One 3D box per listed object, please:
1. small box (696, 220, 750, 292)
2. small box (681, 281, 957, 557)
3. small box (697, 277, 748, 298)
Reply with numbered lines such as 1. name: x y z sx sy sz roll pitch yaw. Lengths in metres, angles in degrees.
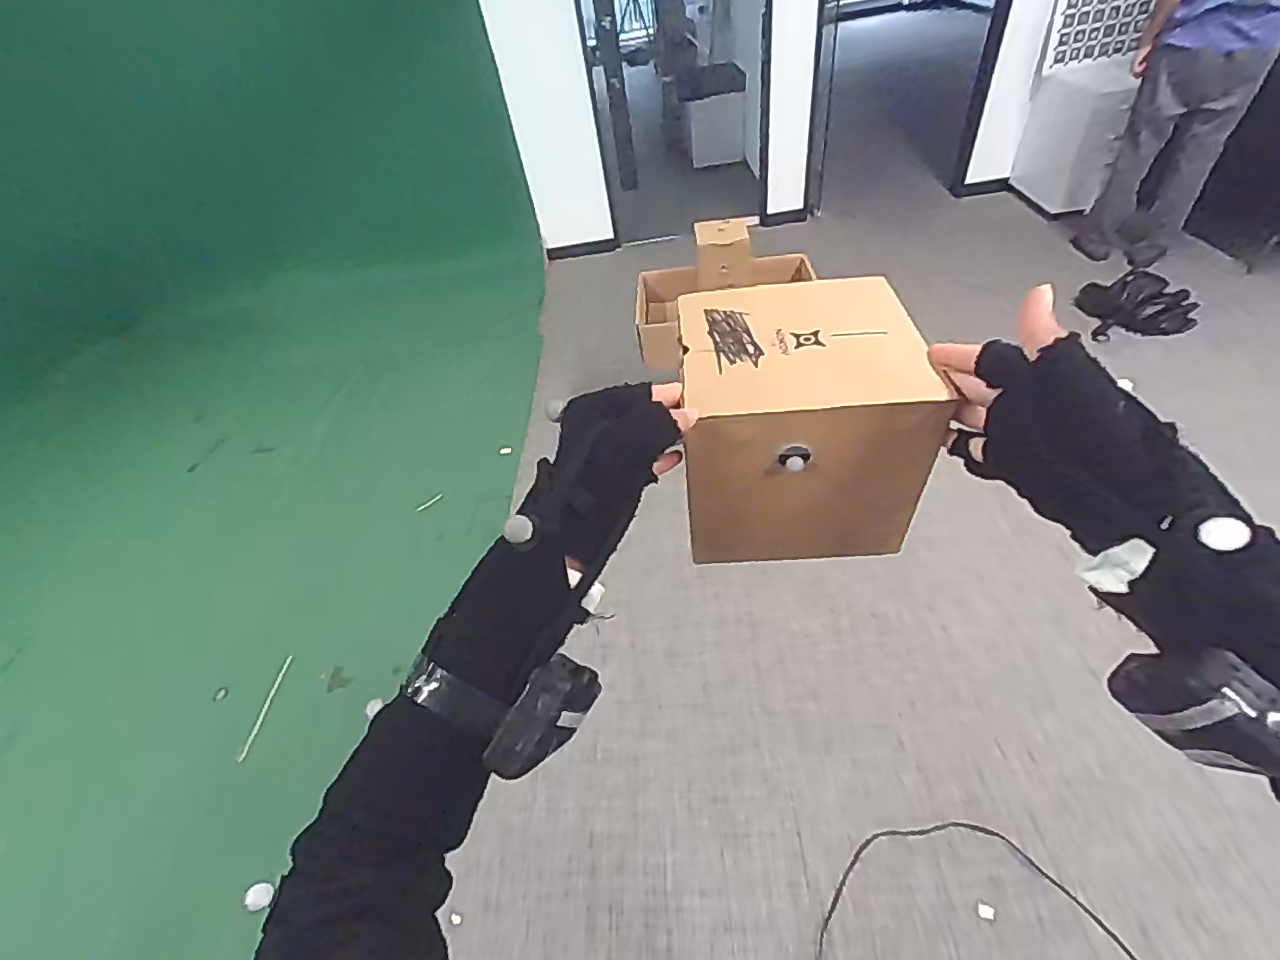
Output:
1. small box: 0.277 -0.745 1.811 0.168 0.176 0.179 -3 47 5
2. small box: 0.130 -0.047 0.464 0.179 0.176 0.168 -3 47 5
3. small box: 0.294 -0.625 1.921 0.168 0.176 0.179 -4 44 5
